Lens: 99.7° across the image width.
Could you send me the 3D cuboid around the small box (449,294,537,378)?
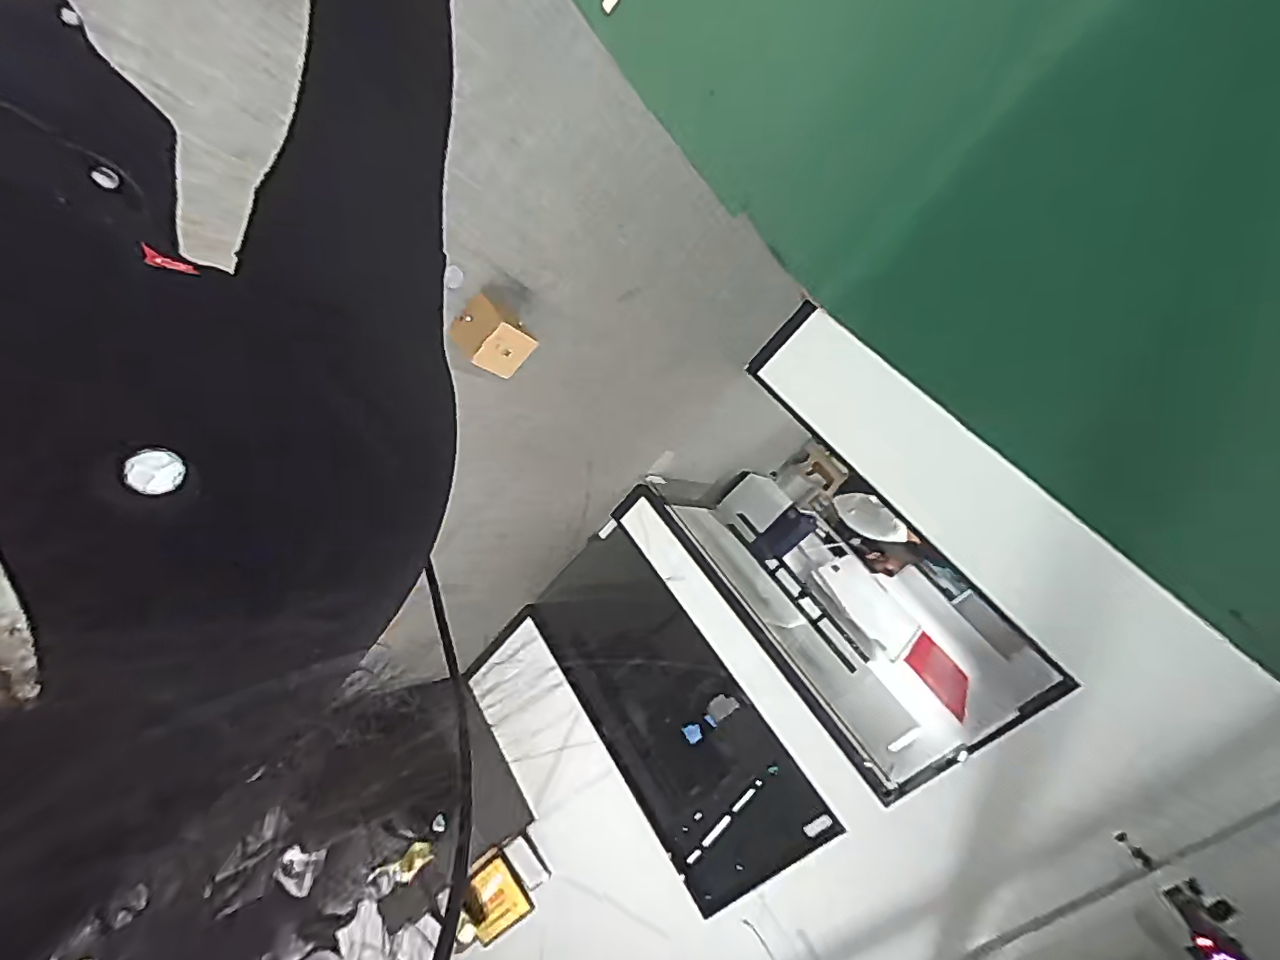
[{"bbox_3d":[-0.470,-0.460,1.726,0.168,0.176,0.179,-45,154,14],"label":"small box"}]
